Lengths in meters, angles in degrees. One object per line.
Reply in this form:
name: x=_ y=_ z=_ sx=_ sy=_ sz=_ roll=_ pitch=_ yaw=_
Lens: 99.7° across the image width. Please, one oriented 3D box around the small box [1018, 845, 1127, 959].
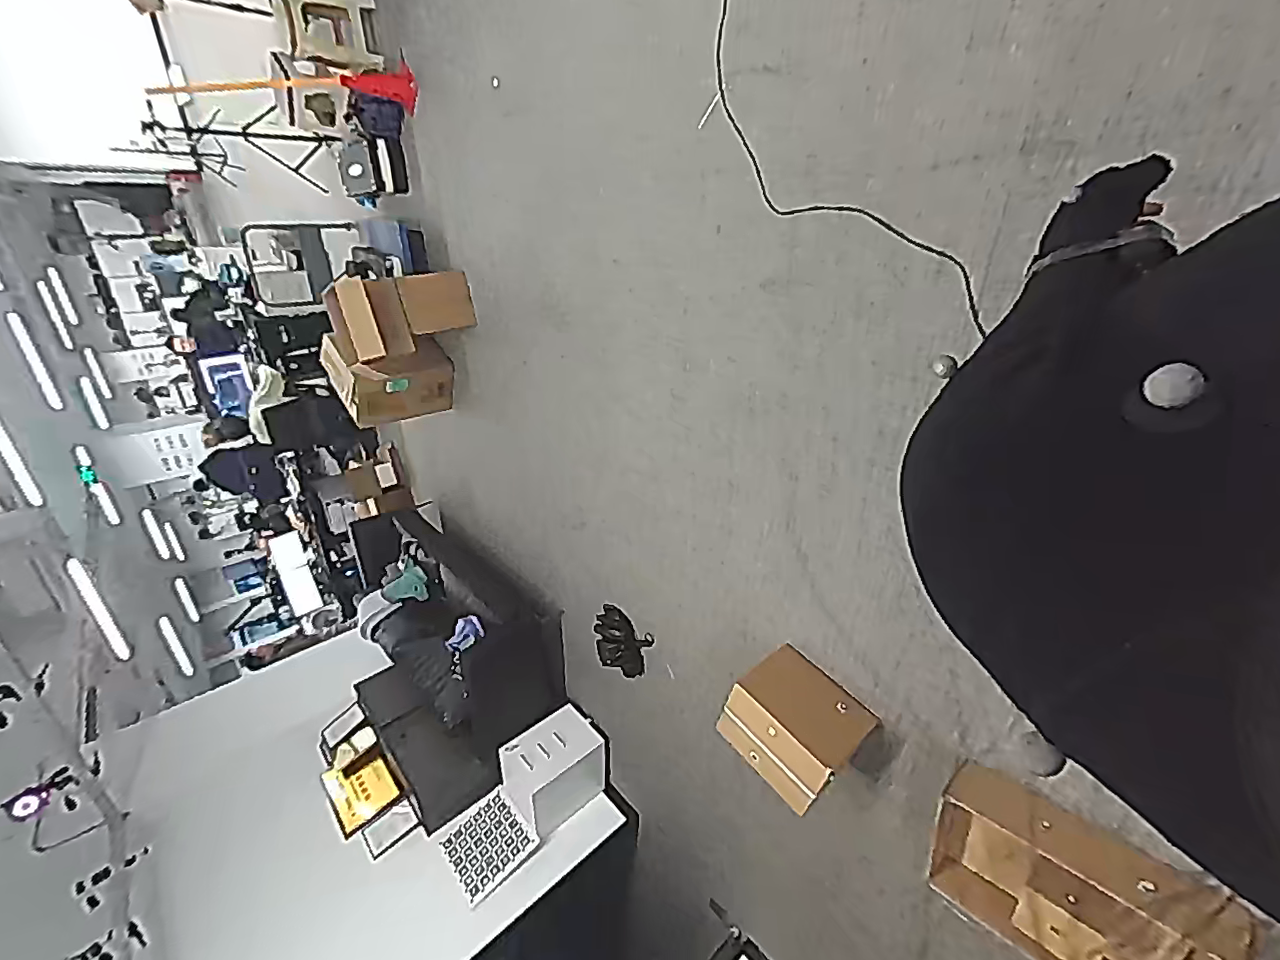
small box: x=1.141 y=1.125 z=1.426 sx=0.179 sy=0.176 sz=0.168 roll=21 pitch=123 yaw=46
